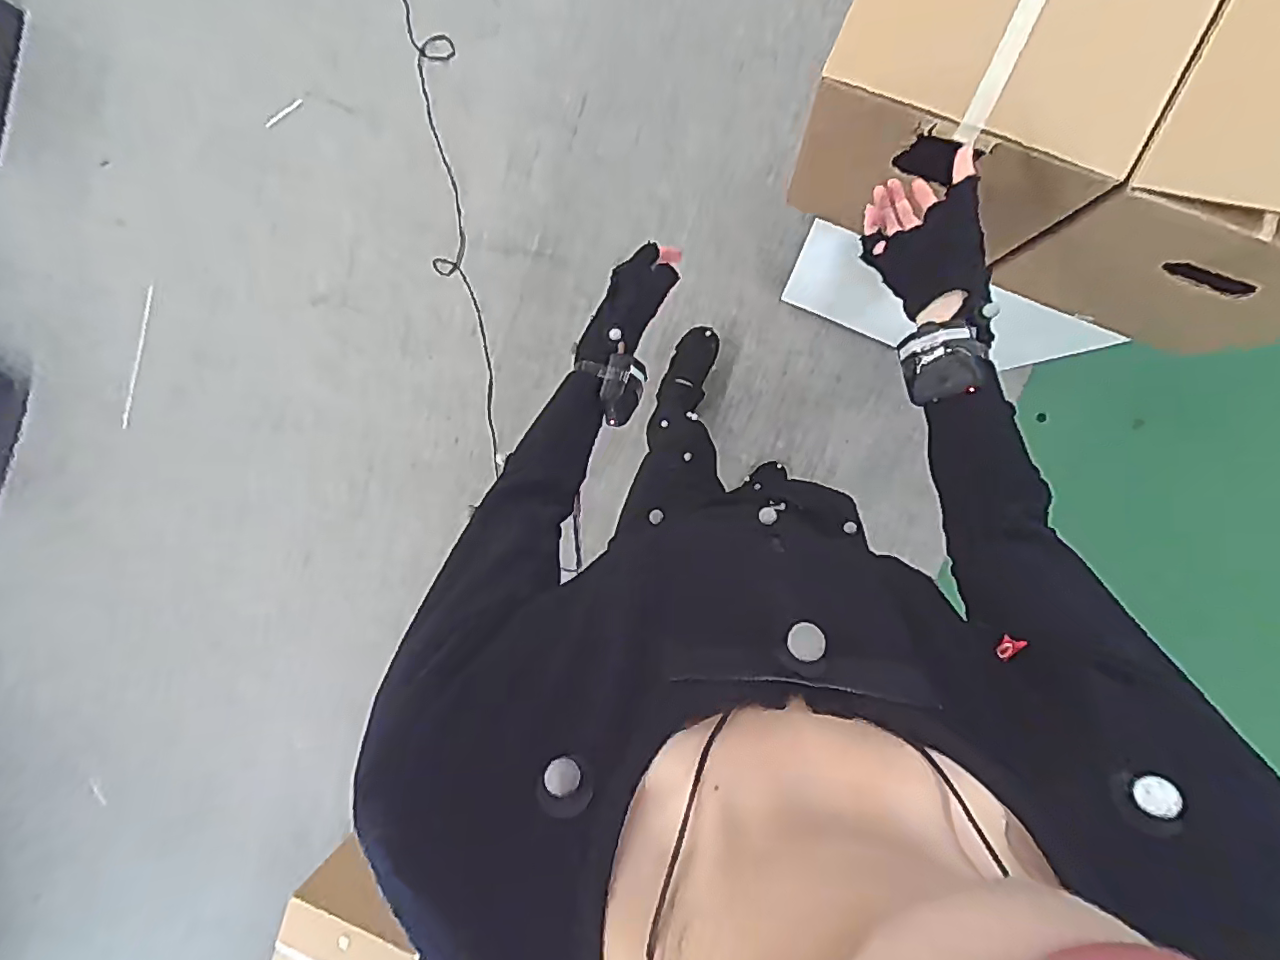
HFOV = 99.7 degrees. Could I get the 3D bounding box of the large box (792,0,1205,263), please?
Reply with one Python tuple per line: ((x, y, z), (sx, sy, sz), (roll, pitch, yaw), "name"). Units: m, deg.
((0.417, -0.546, 0.652), (0.320, 0.320, 0.408), (24, 97, 6), "large box")
